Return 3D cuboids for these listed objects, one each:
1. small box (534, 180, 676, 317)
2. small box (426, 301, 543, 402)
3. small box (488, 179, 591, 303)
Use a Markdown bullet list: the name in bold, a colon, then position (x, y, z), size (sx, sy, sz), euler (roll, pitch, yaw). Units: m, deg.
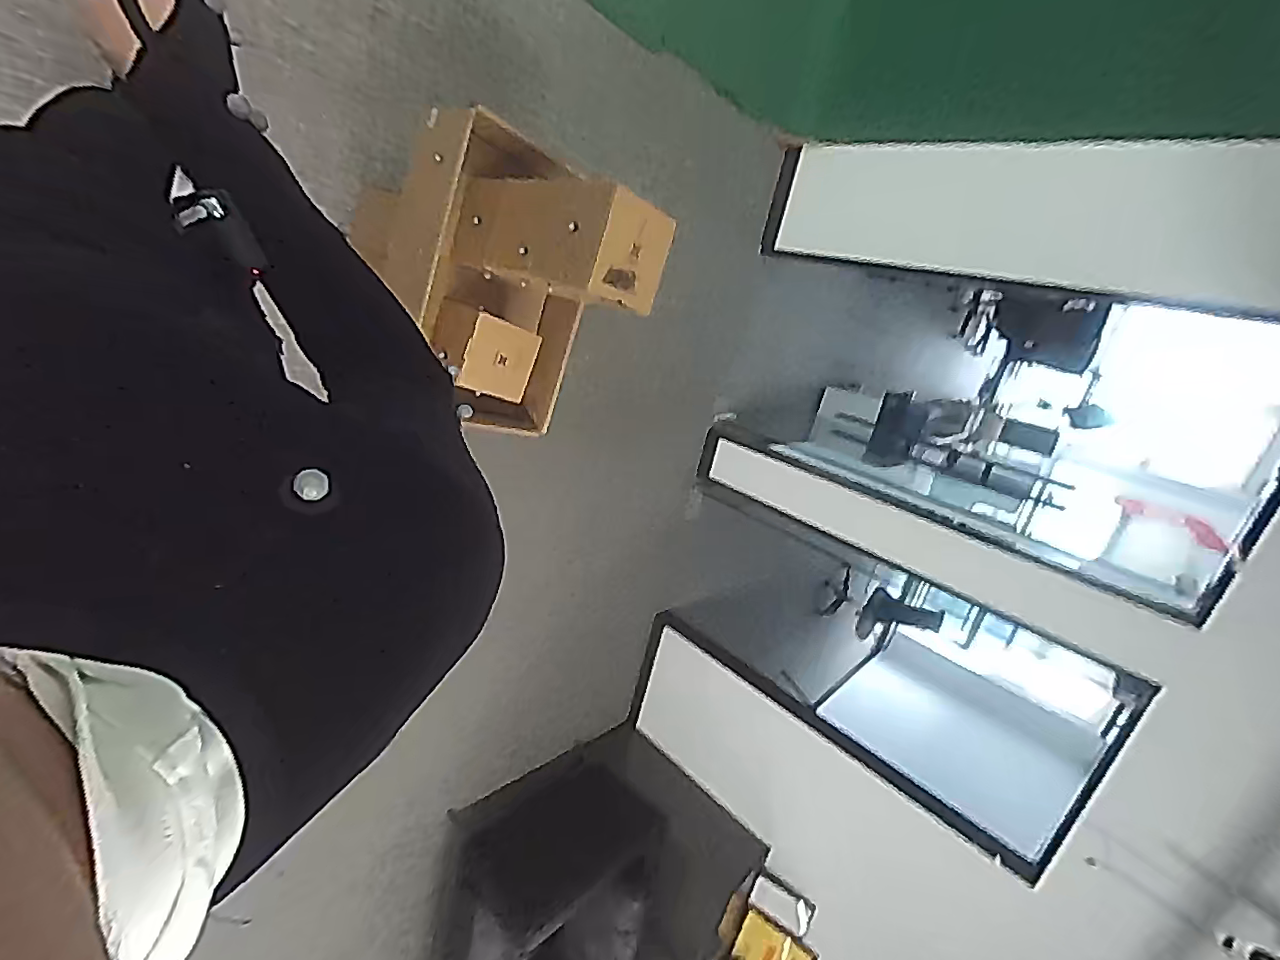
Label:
- **small box**: position (-0.069, -0.420, 0.985), size (0.168, 0.176, 0.179), euler (4, 109, -49)
- **small box**: position (-0.365, -0.302, 1.256), size (0.179, 0.176, 0.168), euler (13, 104, -51)
- **small box**: position (-0.180, -0.482, 1.089), size (0.168, 0.176, 0.179), euler (7, 108, -50)
